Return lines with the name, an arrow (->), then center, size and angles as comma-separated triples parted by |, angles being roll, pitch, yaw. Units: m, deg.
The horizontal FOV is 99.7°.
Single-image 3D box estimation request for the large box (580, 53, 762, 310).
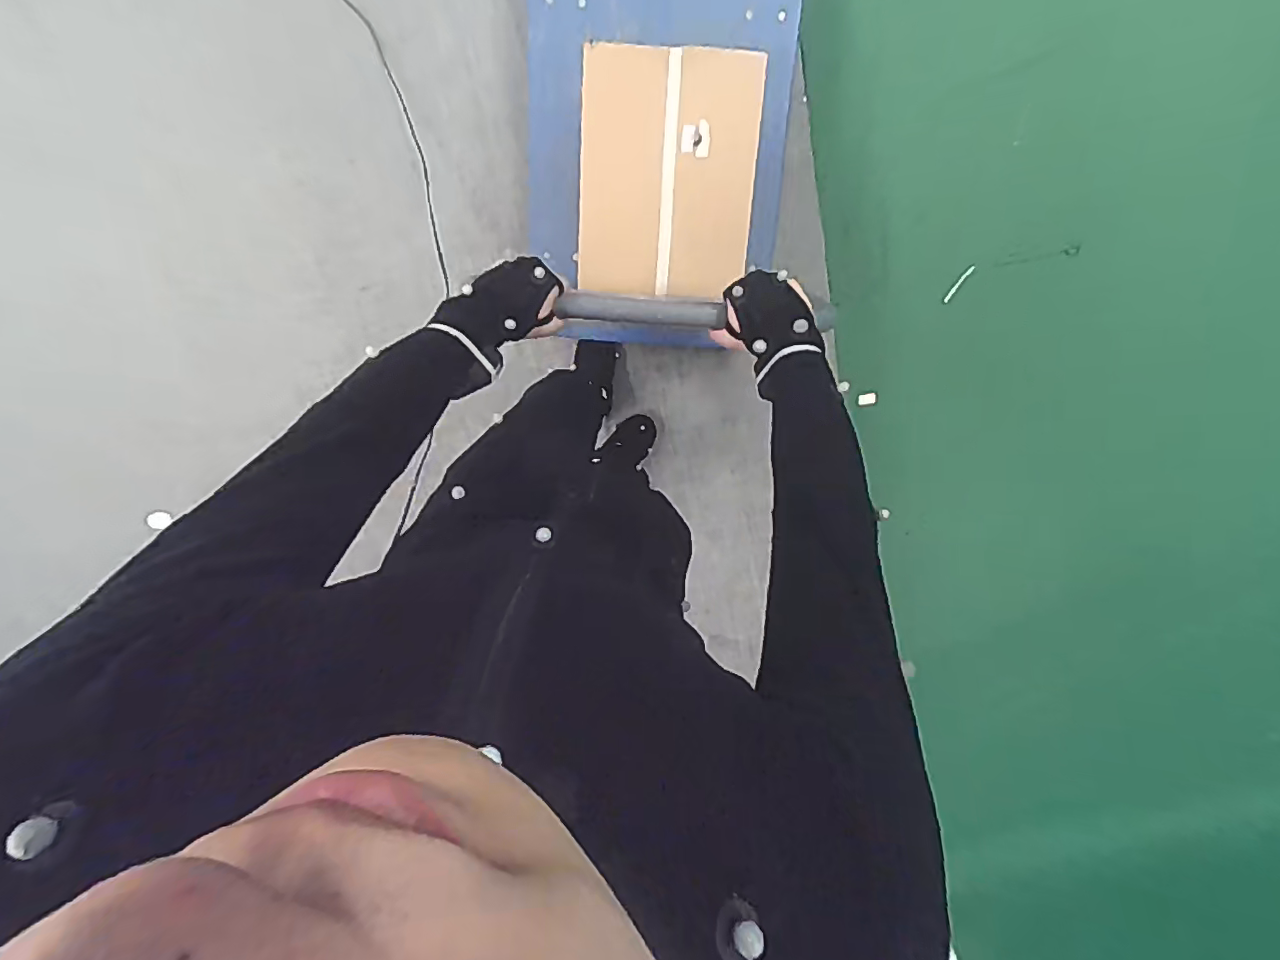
large box -> 0.051, -0.568, 1.116 | 0.320, 0.320, 0.408 | 3, 105, -1
